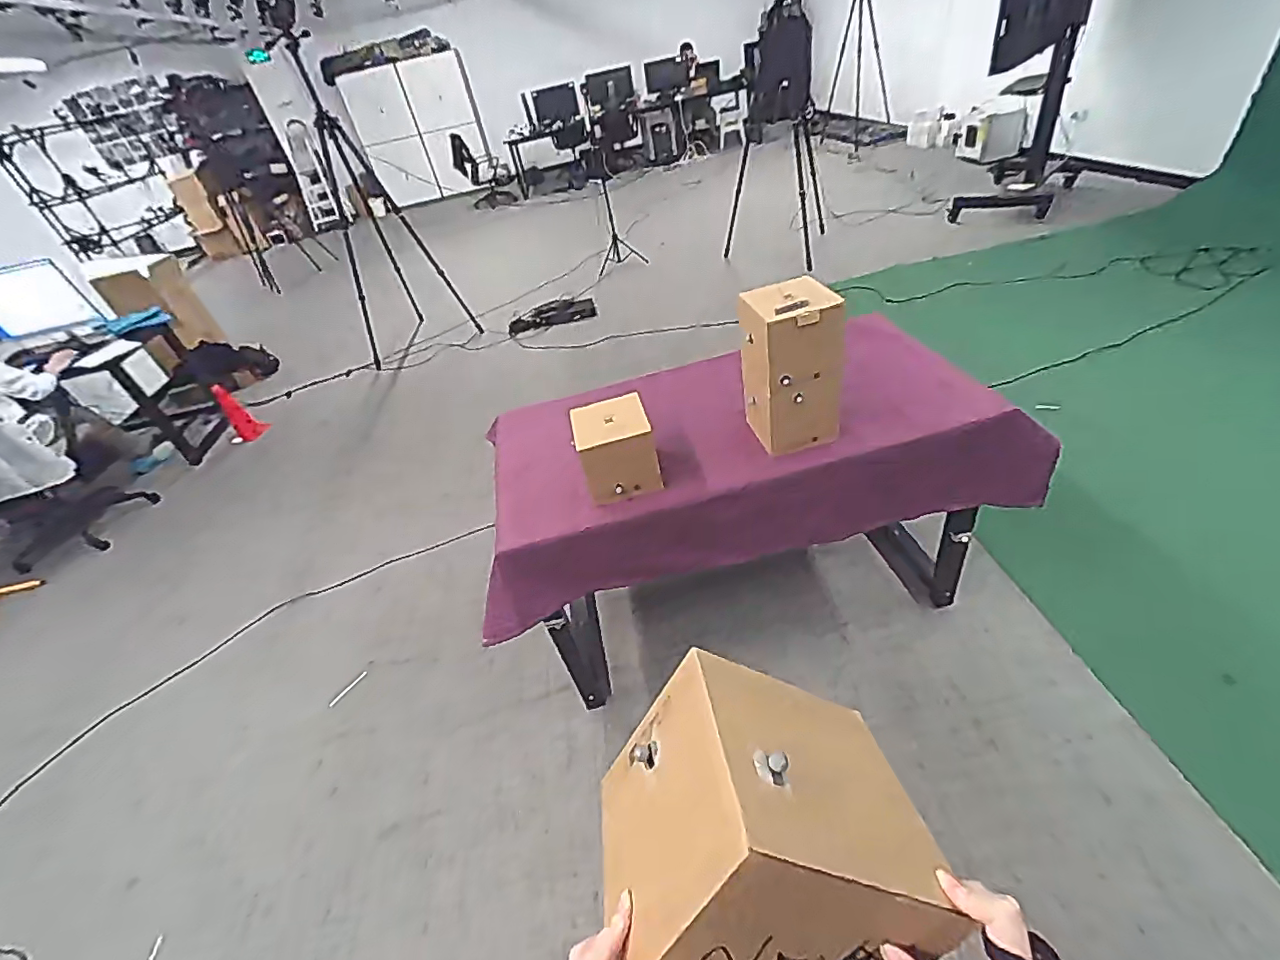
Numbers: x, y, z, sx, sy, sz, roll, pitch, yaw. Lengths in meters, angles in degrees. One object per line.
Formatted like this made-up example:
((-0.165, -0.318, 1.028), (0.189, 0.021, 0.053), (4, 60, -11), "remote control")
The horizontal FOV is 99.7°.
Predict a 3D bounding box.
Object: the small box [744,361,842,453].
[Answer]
((0.353, -0.189, 1.260), (0.168, 0.176, 0.179), (-16, 38, -1), "small box")

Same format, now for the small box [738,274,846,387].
((0.322, -0.314, 1.158), (0.168, 0.176, 0.179), (-16, 39, -2), "small box")

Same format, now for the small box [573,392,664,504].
((-0.051, -0.073, 1.246), (0.168, 0.176, 0.179), (-15, 40, -1), "small box")
